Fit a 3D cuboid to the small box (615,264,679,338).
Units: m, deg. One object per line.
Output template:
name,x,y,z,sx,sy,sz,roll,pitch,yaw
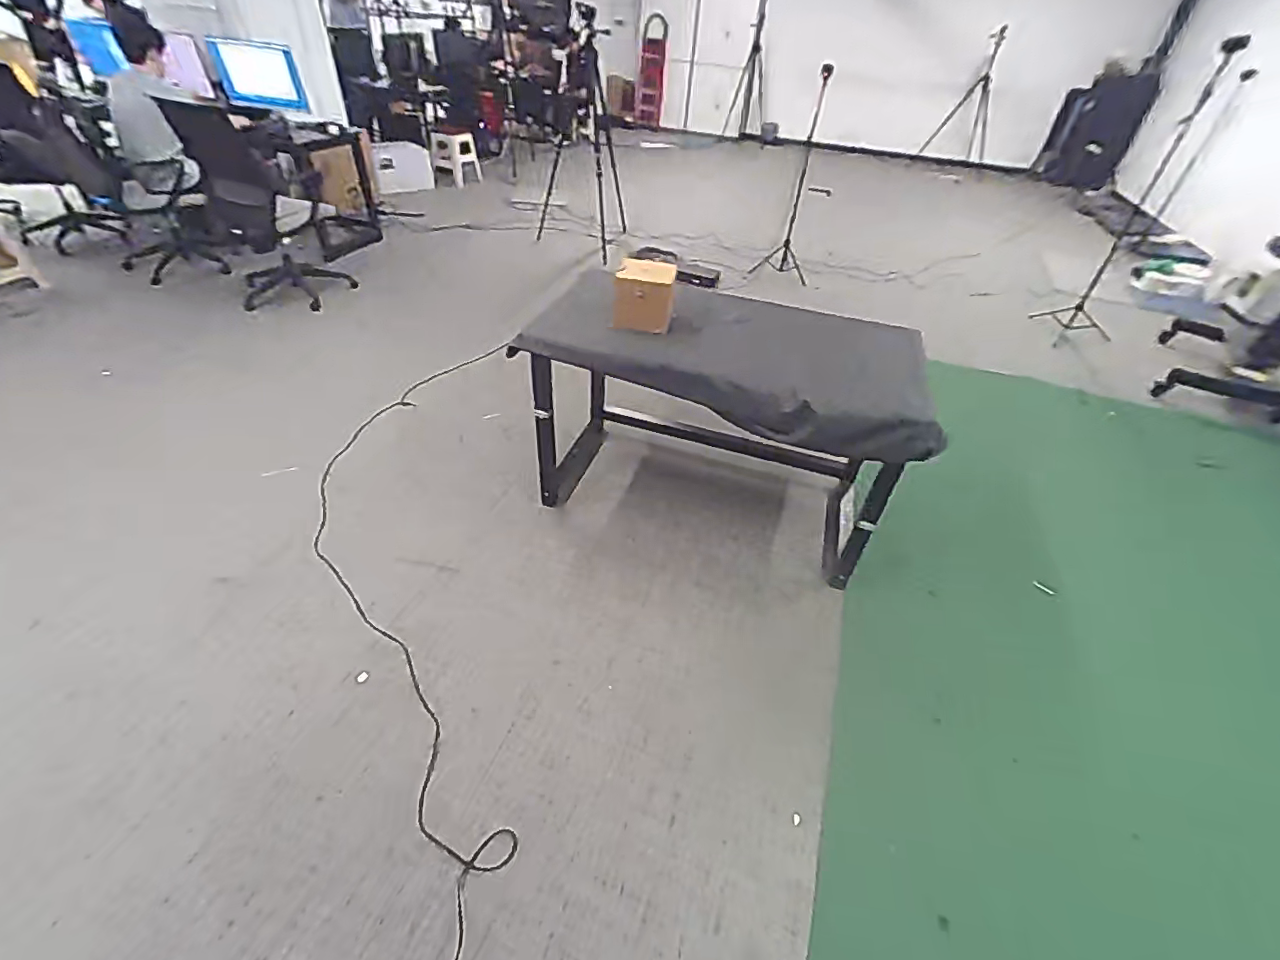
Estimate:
small box,0.020,-0.573,1.731,0.179,0.176,0.168,10,42,4
